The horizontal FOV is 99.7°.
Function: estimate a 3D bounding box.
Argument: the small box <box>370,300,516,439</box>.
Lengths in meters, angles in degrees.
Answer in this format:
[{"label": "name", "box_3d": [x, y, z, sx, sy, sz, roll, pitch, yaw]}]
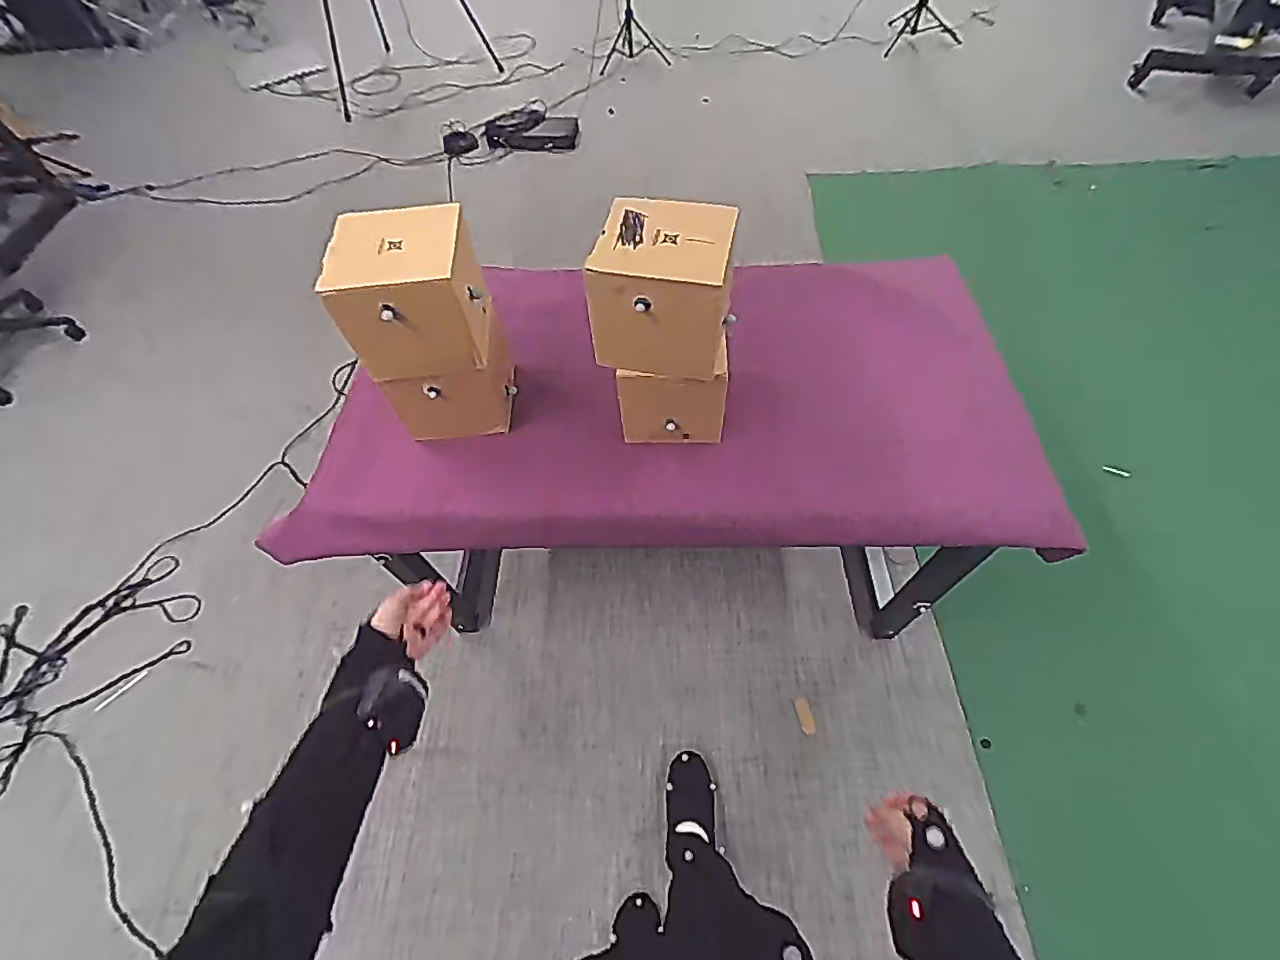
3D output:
[{"label": "small box", "box_3d": [-0.324, -0.184, 0.928, 0.179, 0.176, 0.168, -4, 58, 0]}]

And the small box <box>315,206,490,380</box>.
[{"label": "small box", "box_3d": [-0.327, -0.267, 0.789, 0.179, 0.176, 0.168, -7, 58, 0]}]

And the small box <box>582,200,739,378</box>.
[{"label": "small box", "box_3d": [0.034, -0.264, 0.762, 0.179, 0.176, 0.168, 10, 58, 9]}]

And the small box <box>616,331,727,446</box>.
[{"label": "small box", "box_3d": [0.053, -0.177, 0.901, 0.168, 0.176, 0.179, 1, 57, 4]}]
